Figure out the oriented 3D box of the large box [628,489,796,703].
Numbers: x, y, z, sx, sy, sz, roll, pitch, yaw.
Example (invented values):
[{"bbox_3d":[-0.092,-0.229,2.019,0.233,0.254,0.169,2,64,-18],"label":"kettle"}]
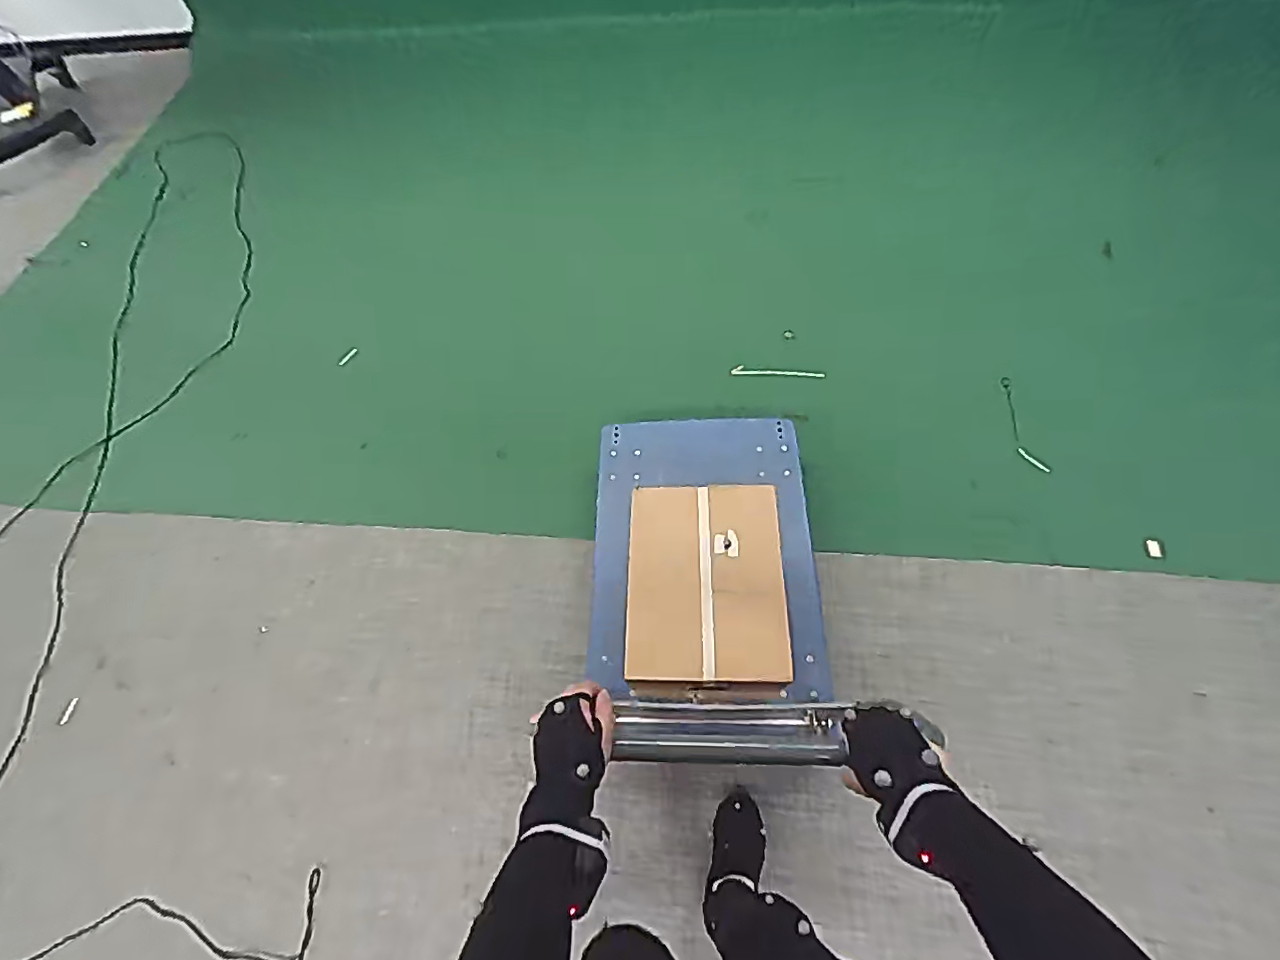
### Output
[{"bbox_3d":[0.148,0.271,1.218,0.320,0.320,0.408,-1,61,5],"label":"large box"}]
